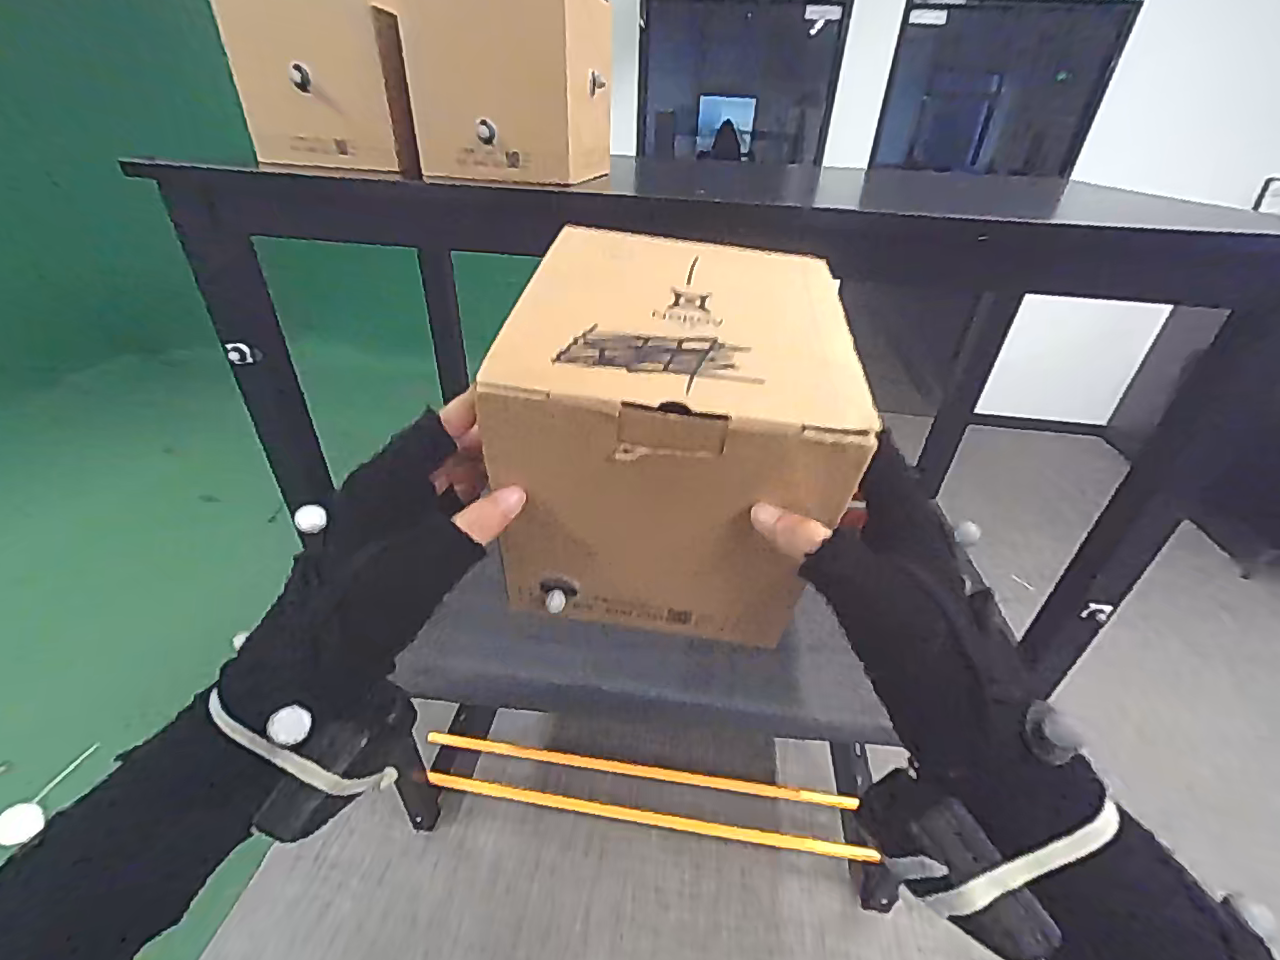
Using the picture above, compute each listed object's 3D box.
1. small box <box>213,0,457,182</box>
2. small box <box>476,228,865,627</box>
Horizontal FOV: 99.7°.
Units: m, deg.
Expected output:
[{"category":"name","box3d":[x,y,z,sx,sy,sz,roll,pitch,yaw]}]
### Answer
[{"category":"small box","box3d":[-0.327,-0.449,0.625,0.168,0.176,0.179,7,33,5]},{"category":"small box","box3d":[0.017,-0.032,0.335,0.168,0.176,0.179,8,44,2]}]
